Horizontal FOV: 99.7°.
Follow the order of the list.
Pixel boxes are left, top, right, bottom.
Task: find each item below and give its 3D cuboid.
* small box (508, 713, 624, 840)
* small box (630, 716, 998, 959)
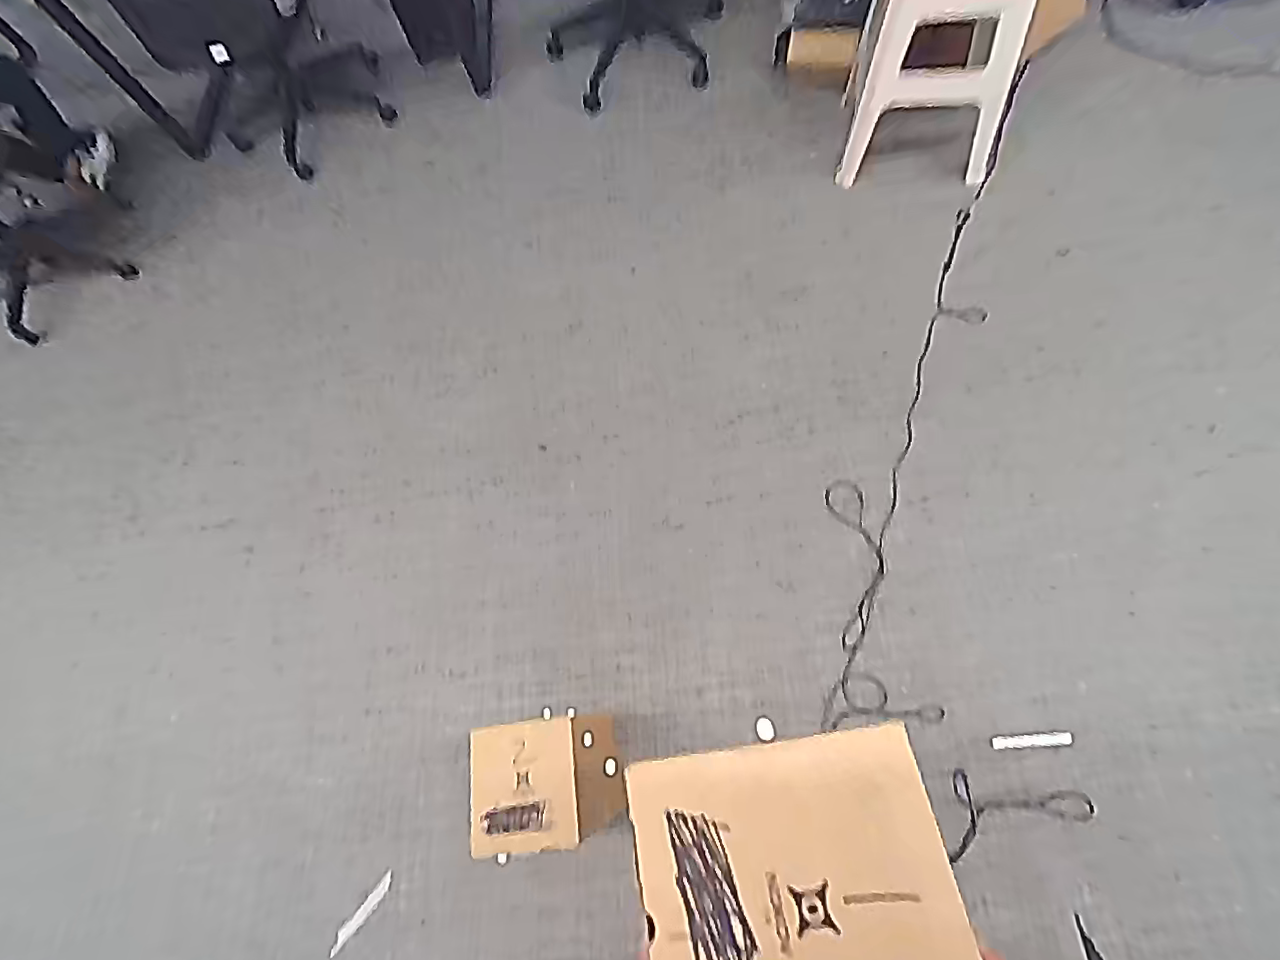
[{"bbox_3d":[-0.136,0.552,1.029,0.168,0.176,0.179,-15,67,4],"label":"small box"},{"bbox_3d":[0.100,0.261,0.357,0.179,0.176,0.168,-10,63,4],"label":"small box"}]
